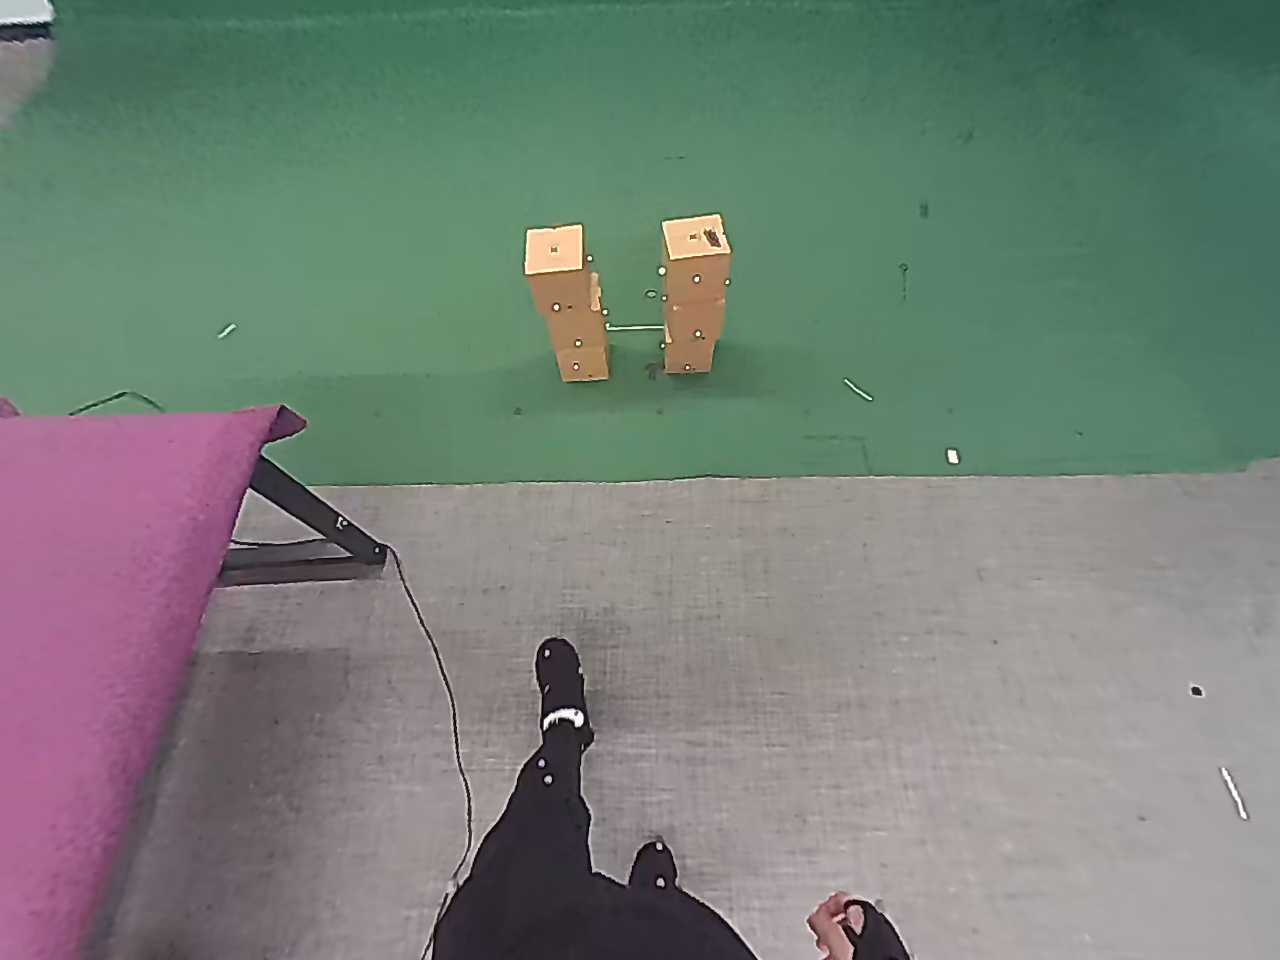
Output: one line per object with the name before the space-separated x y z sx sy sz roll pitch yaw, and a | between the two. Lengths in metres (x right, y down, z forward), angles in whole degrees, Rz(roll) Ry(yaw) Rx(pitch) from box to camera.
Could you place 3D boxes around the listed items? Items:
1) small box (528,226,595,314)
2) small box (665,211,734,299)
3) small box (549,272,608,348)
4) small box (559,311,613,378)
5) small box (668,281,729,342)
small box | -0.230 -0.625 1.619 0.168 0.176 0.179 -5 63 4
small box | 0.171 -0.667 1.614 0.179 0.176 0.168 -8 63 0
small box | -0.198 -0.550 1.763 0.179 0.176 0.168 -5 62 0
small box | -0.185 -0.474 1.907 0.168 0.176 0.179 -3 62 2
small box | 0.183 -0.577 1.753 0.168 0.176 0.179 -10 63 -2
